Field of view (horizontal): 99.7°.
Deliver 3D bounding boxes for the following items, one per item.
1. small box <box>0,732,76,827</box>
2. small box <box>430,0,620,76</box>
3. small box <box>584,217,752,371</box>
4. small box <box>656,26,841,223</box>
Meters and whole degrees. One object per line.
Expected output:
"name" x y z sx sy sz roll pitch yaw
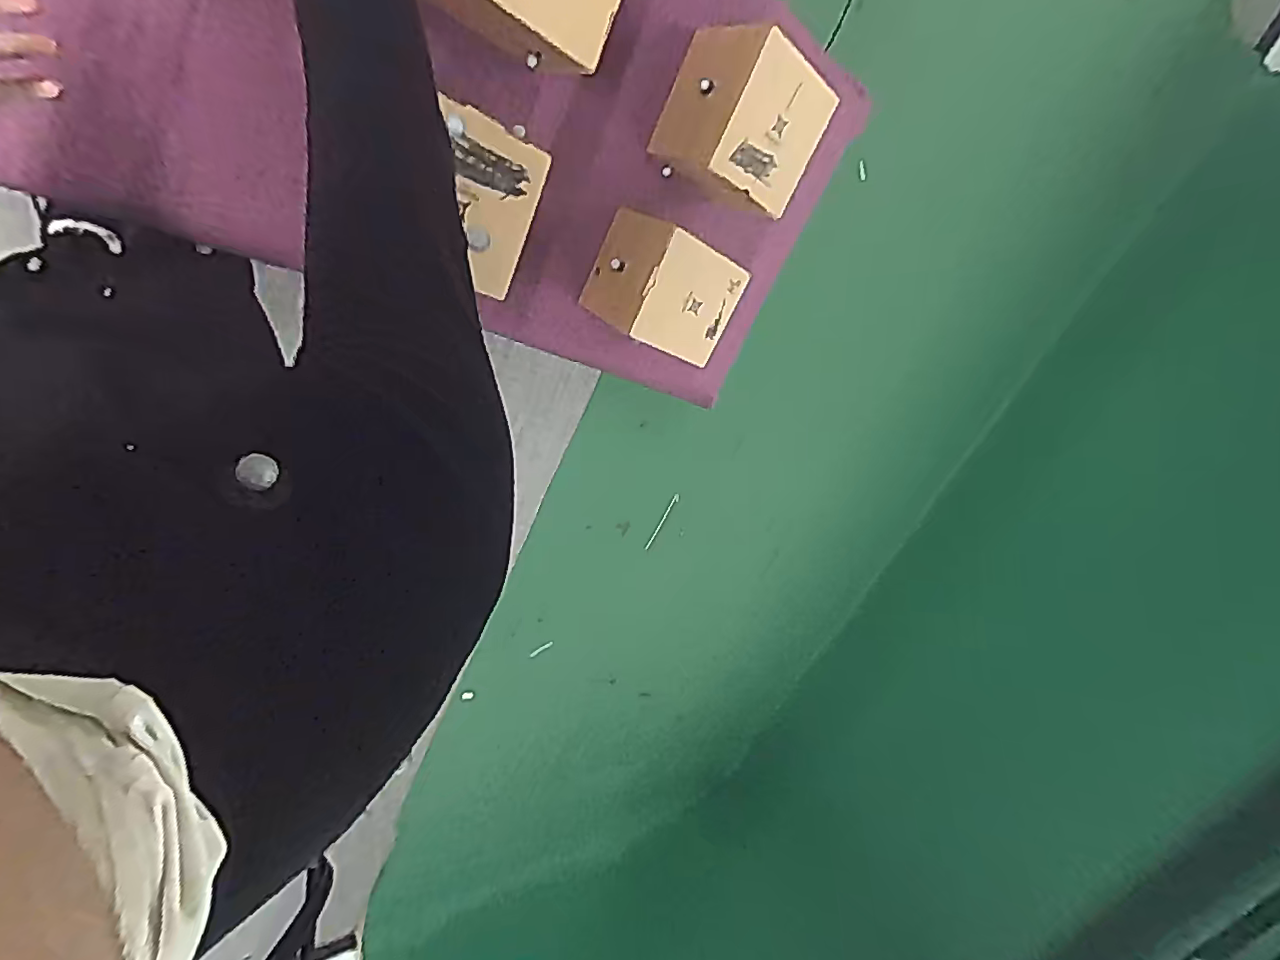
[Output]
"small box" -1.706 0.824 1.493 0.179 0.176 0.168 14 113 -41
"small box" -0.122 -0.559 0.559 0.179 0.176 0.168 8 116 -40
"small box" 0.037 -0.302 0.871 0.179 0.176 0.168 12 113 -41
"small box" 0.147 -0.513 0.793 0.168 0.176 0.179 10 115 -41
